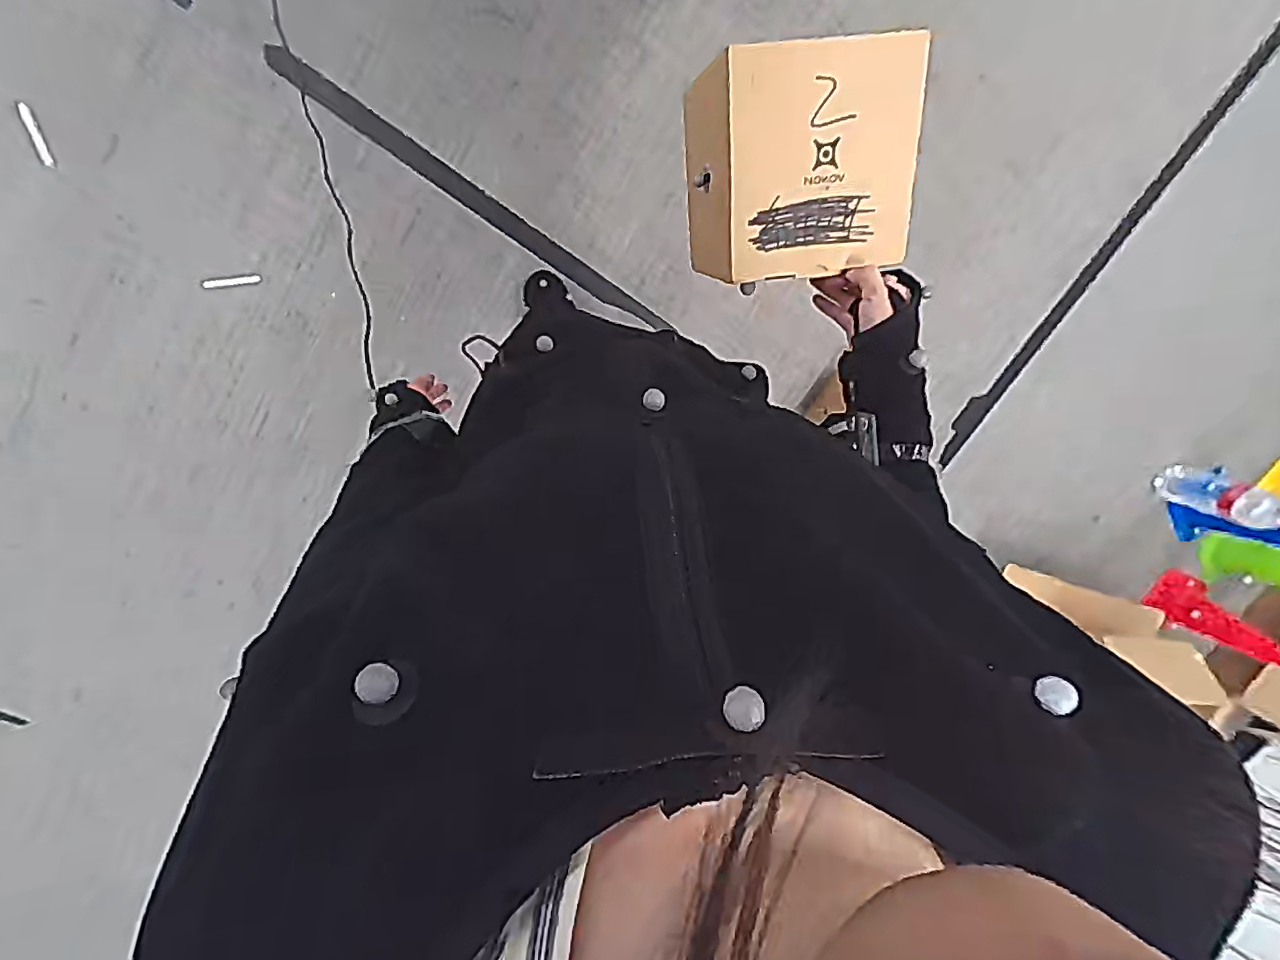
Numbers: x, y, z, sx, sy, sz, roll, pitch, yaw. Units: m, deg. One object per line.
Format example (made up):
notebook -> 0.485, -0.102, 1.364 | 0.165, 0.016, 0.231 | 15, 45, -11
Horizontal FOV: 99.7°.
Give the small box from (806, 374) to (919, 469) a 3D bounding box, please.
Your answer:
small box -> 0.563, -0.158, 1.397 | 0.179, 0.176, 0.168 | 29, 105, -17
